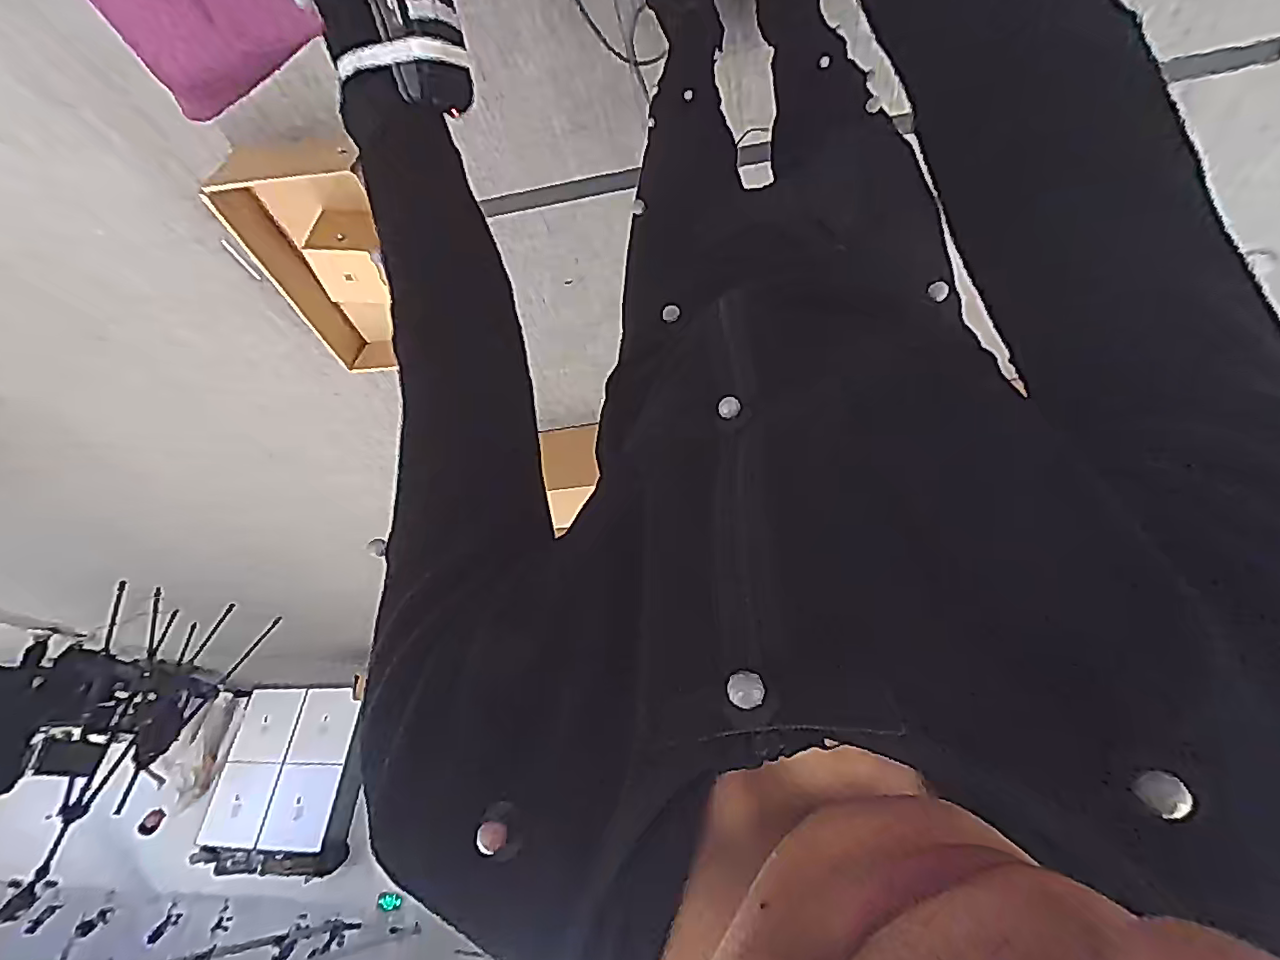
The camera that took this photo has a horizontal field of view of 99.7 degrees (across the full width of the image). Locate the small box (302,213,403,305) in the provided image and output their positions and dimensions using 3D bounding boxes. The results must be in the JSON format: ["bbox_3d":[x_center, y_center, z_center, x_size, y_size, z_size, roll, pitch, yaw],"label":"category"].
[{"bbox_3d":[-0.753,-0.590,1.445,0.179,0.176,0.168,1,149,0],"label":"small box"}]
